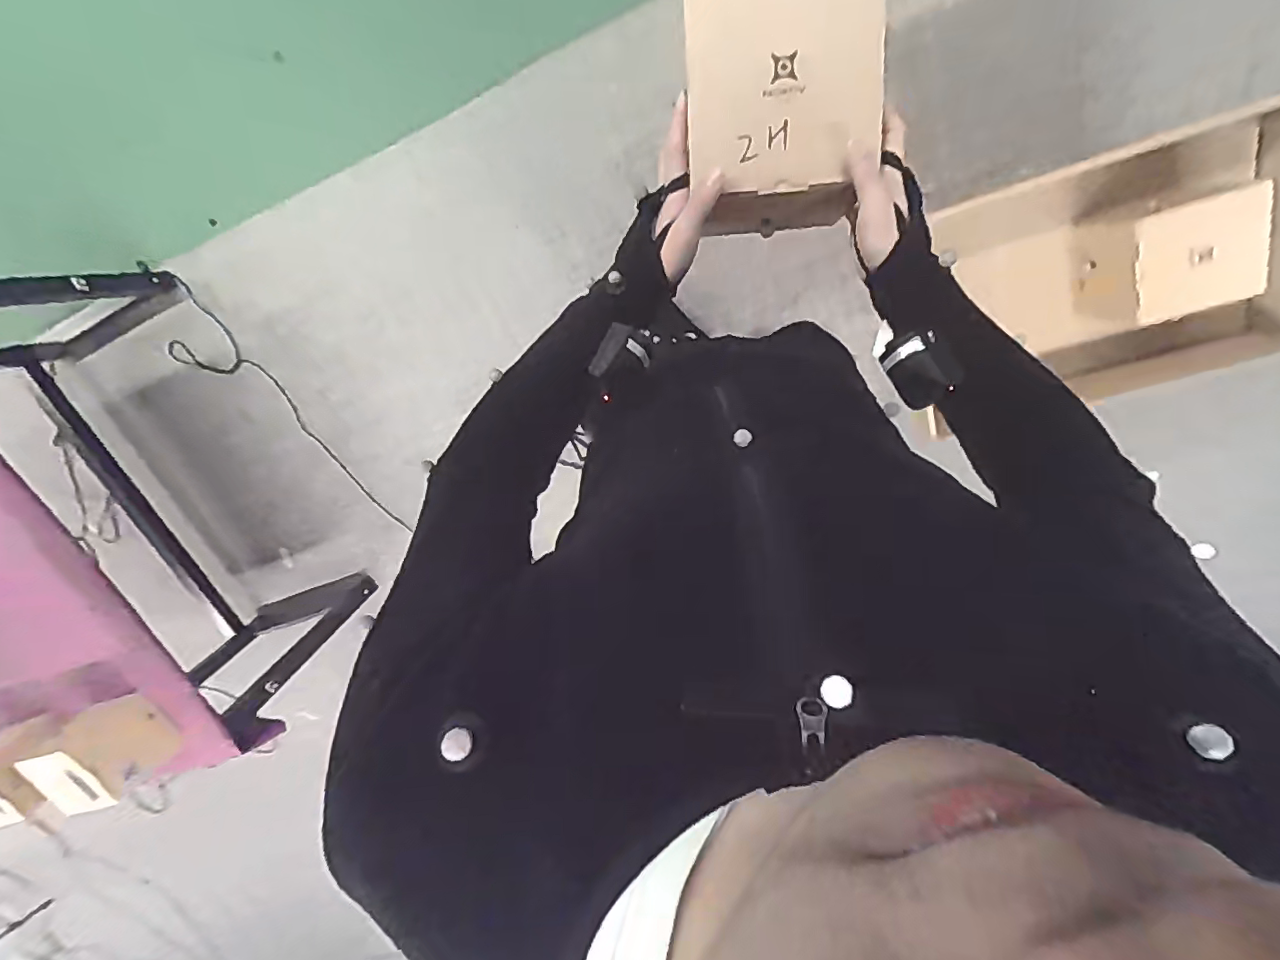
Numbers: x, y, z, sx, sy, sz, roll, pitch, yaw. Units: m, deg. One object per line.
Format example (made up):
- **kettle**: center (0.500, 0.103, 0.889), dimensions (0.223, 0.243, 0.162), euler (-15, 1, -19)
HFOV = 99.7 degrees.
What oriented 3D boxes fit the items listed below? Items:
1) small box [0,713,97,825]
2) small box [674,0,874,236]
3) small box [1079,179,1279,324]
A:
- **small box**: center (-1.488, 0.694, 1.305), dimensions (0.179, 0.176, 0.168), euler (-20, 108, 15)
- **small box**: center (0.121, -0.359, 0.534), dimensions (0.168, 0.176, 0.179), euler (-2, 102, 8)
- **small box**: center (0.877, -0.375, 0.895), dimensions (0.179, 0.176, 0.168), euler (-15, 110, 14)
